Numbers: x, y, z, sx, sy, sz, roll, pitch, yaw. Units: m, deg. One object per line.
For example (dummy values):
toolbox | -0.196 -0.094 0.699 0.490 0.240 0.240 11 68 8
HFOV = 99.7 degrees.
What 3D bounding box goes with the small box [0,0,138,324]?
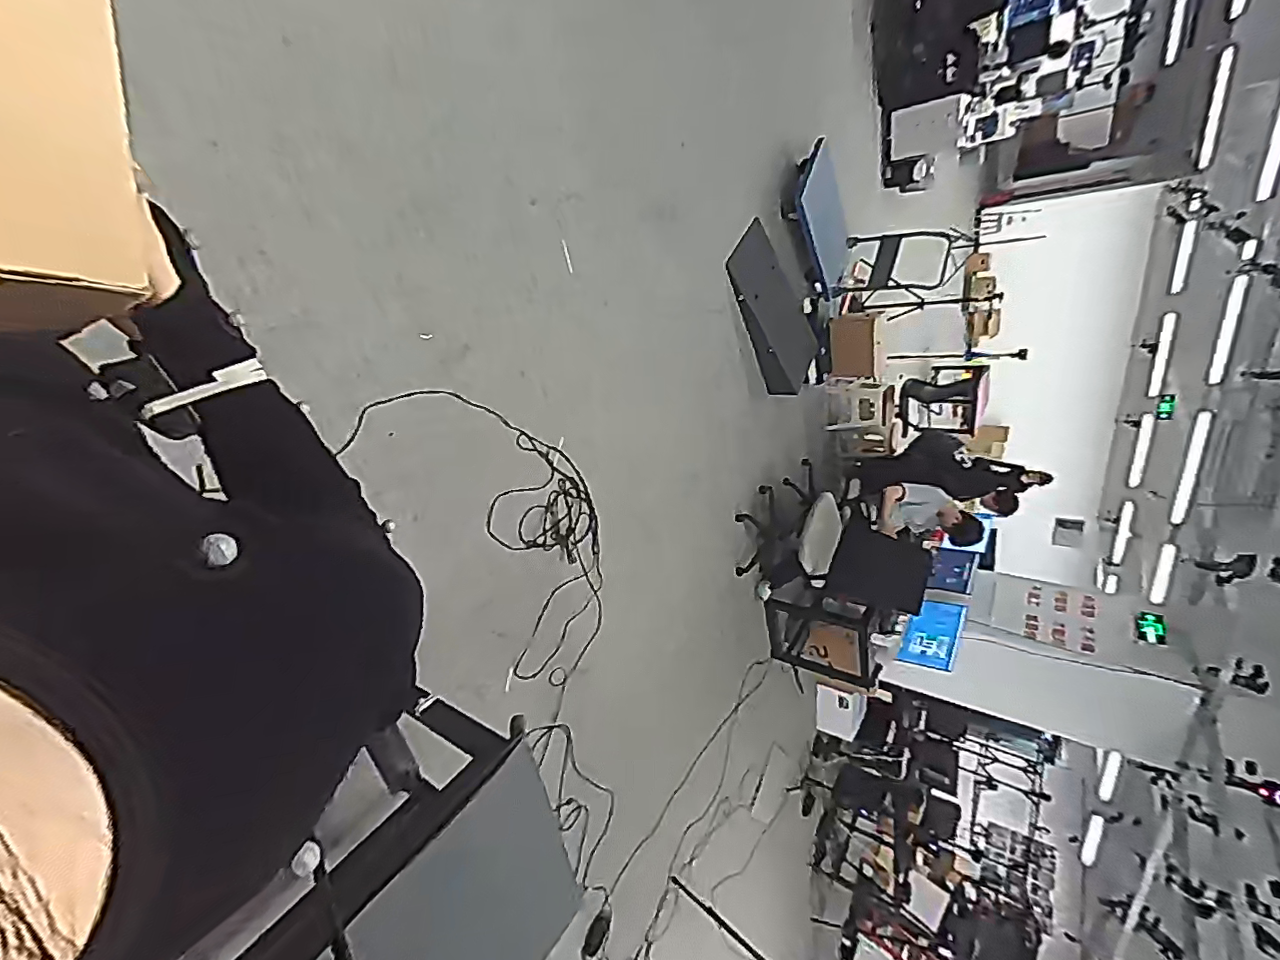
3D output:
small box | -0.392 -0.187 0.262 0.168 0.176 0.179 -12 99 -60
